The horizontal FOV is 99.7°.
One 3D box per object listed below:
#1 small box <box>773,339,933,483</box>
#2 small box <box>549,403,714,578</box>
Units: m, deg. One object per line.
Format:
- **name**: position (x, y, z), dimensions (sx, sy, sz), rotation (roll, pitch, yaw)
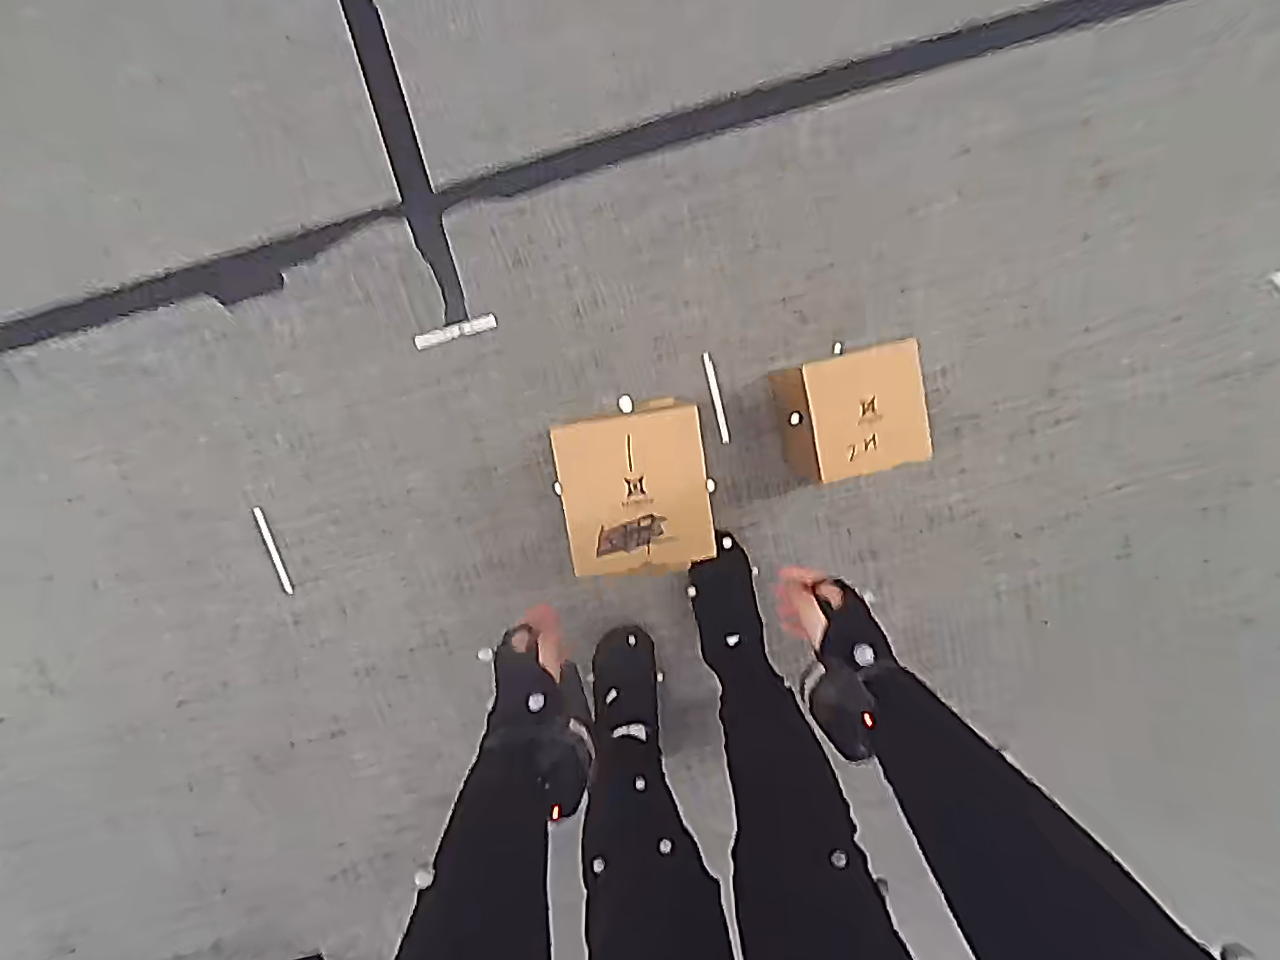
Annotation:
- **small box**: position (0.317, -0.107, 0.836), dimensions (0.168, 0.176, 0.179), rotation (-13, 100, 0)
- **small box**: position (-0.009, 0.003, 0.673), dimensions (0.168, 0.176, 0.179), rotation (-9, 99, -1)
